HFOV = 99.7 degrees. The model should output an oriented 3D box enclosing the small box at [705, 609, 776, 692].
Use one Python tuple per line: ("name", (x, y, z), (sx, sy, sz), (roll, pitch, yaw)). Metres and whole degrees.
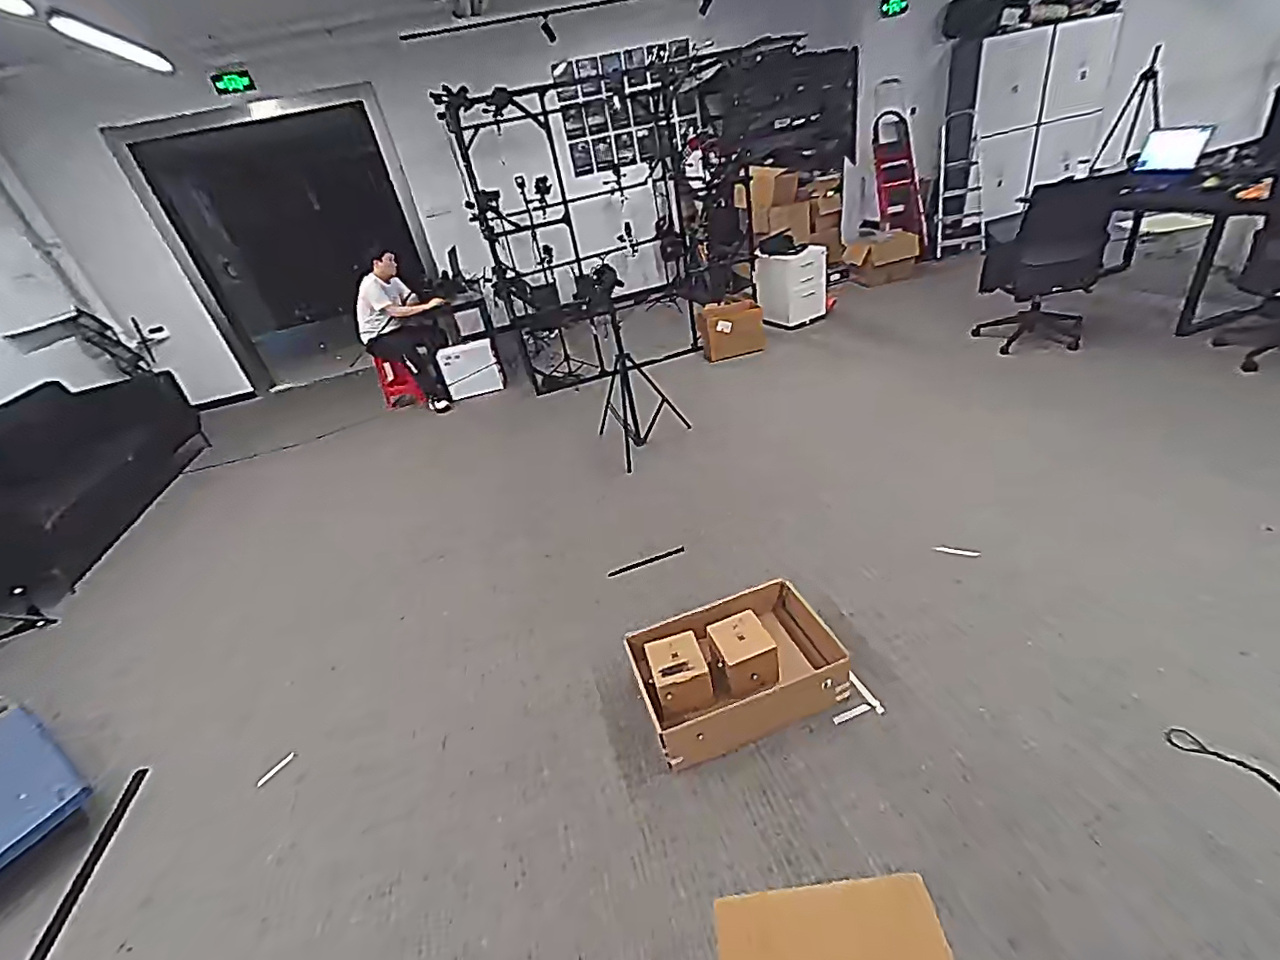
("small box", (0.328, 0.558, 1.748), (0.168, 0.176, 0.179), (-18, 32, -10))
